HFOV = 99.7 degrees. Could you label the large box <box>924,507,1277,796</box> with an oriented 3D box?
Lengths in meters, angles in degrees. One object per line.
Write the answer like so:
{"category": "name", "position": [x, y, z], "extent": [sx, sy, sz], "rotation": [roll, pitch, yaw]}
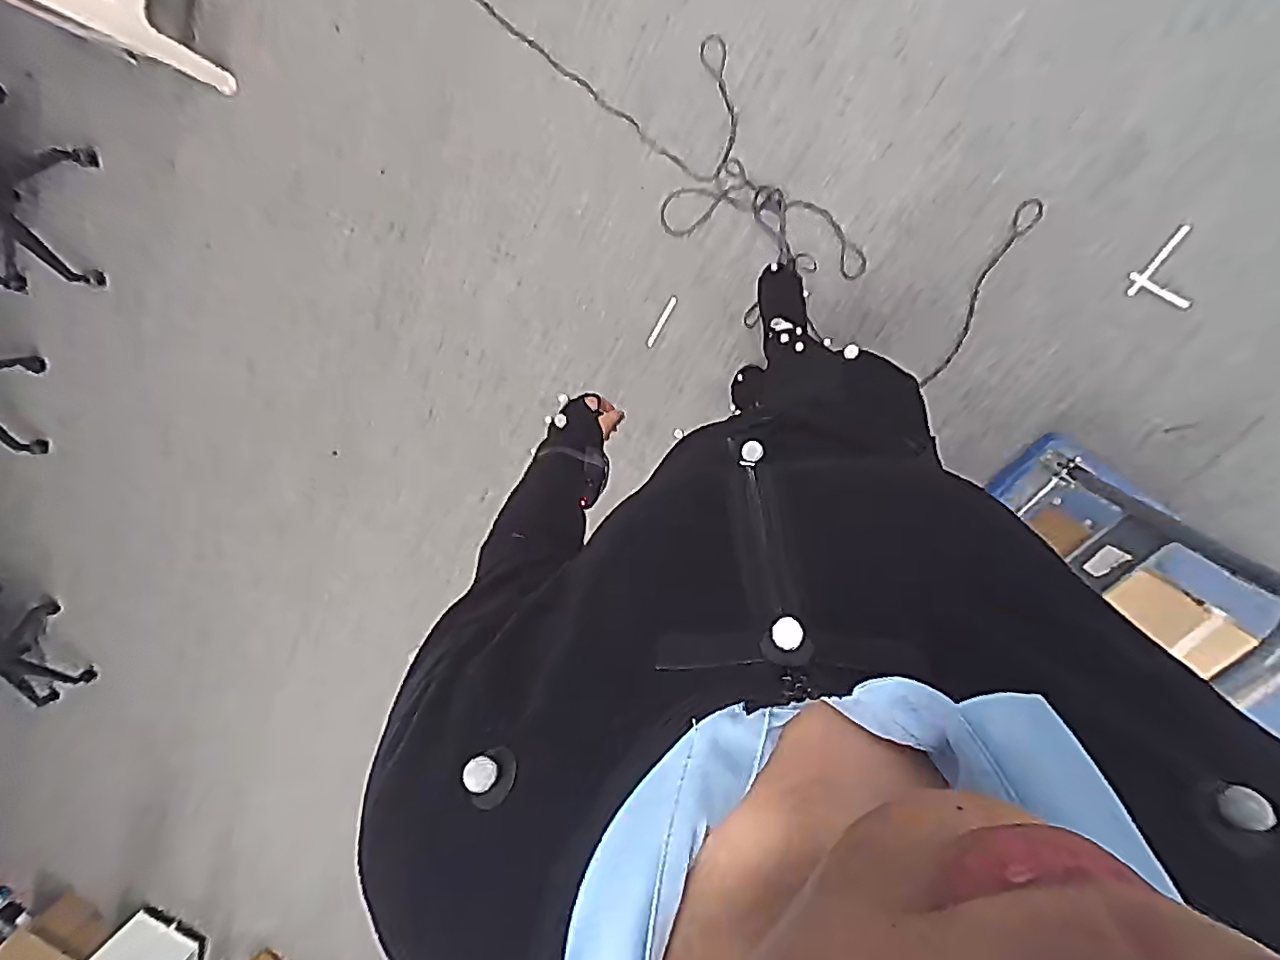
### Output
{"category": "large box", "position": [0.881, 0.332, 1.116], "extent": [0.320, 0.320, 0.408], "rotation": [32, 112, 4]}
